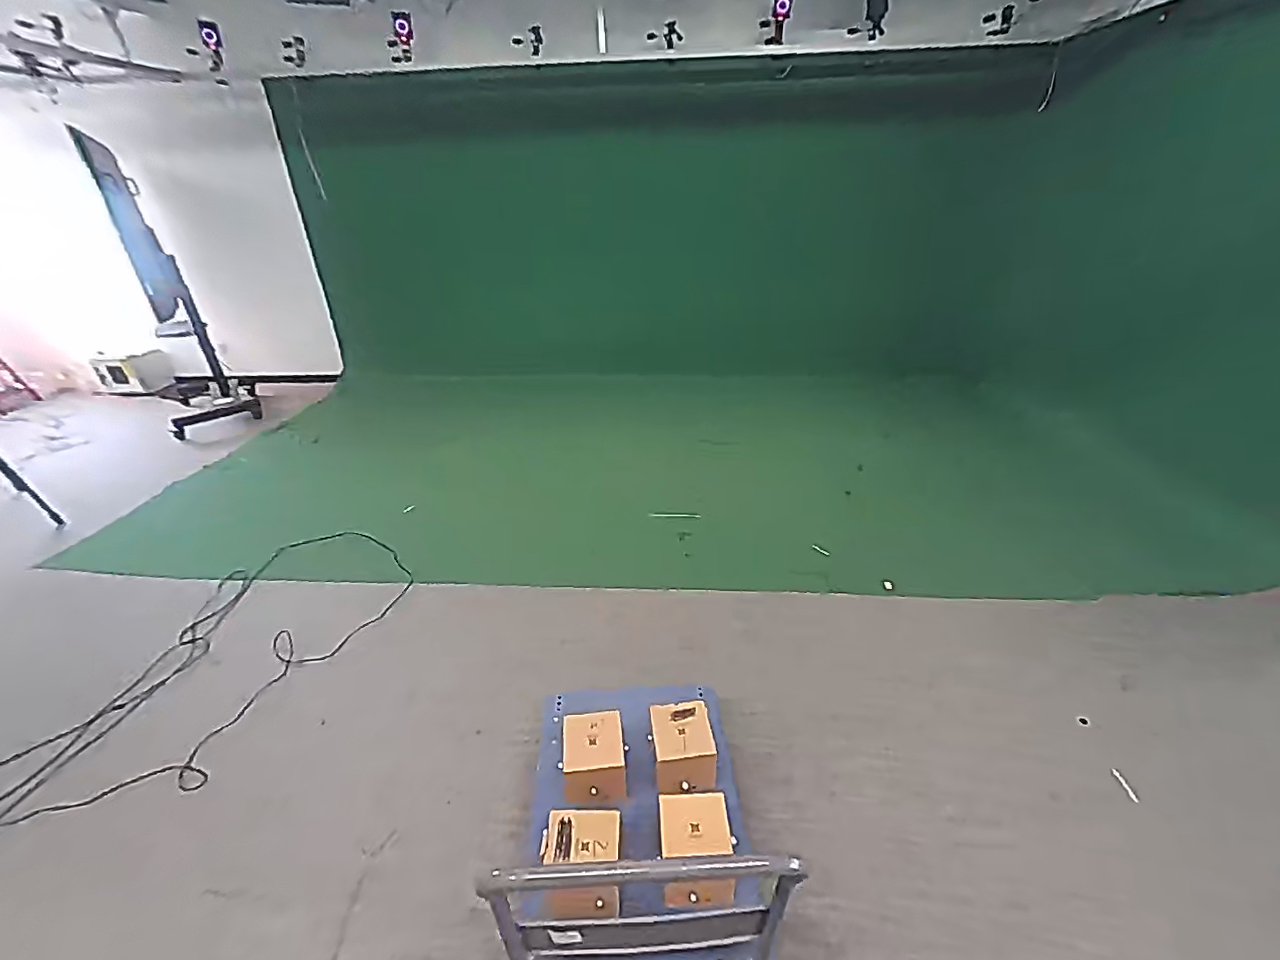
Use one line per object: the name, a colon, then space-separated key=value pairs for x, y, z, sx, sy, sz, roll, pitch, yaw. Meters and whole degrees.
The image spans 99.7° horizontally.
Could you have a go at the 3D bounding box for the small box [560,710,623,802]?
small box: x=-0.136 y=0.792 z=1.542 sx=0.168 sy=0.176 sz=0.179 roll=-3 pitch=30 yaw=-5

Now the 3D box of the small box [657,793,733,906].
small box: x=0.128 y=0.908 z=1.332 sx=0.168 sy=0.176 sz=0.179 roll=-2 pitch=30 yaw=-1

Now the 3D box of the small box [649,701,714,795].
small box: x=0.114 y=0.773 z=1.566 sx=0.168 sy=0.176 sz=0.179 roll=-5 pitch=31 yaw=-5
